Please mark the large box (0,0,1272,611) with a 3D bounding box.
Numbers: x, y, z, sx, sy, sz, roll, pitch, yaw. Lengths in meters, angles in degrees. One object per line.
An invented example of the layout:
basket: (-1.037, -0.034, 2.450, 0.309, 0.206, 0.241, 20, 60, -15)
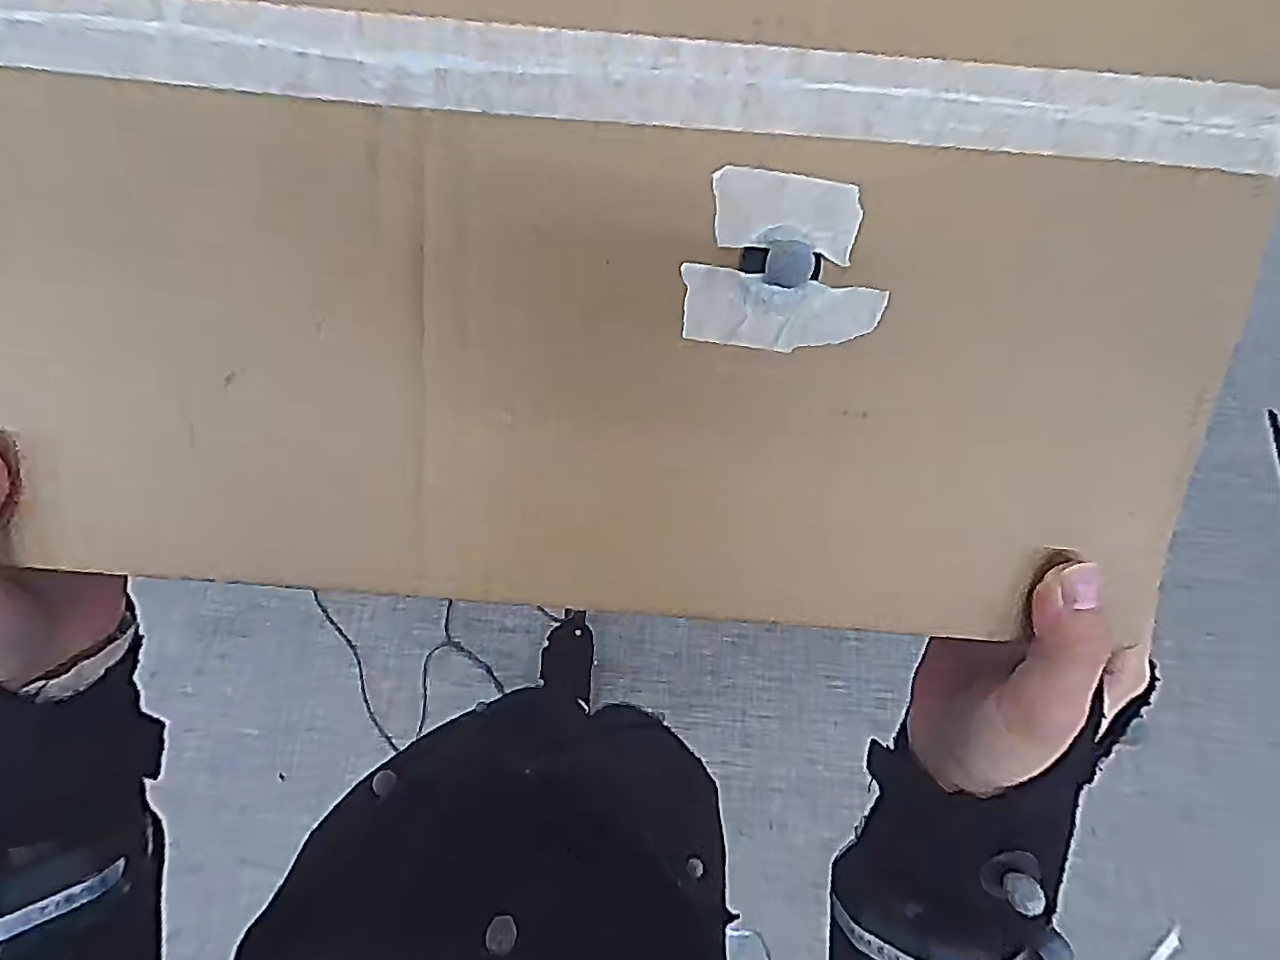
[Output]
large box: (-0.021, -0.139, 0.310, 0.408, 0.320, 0.320, 4, 101, -2)
